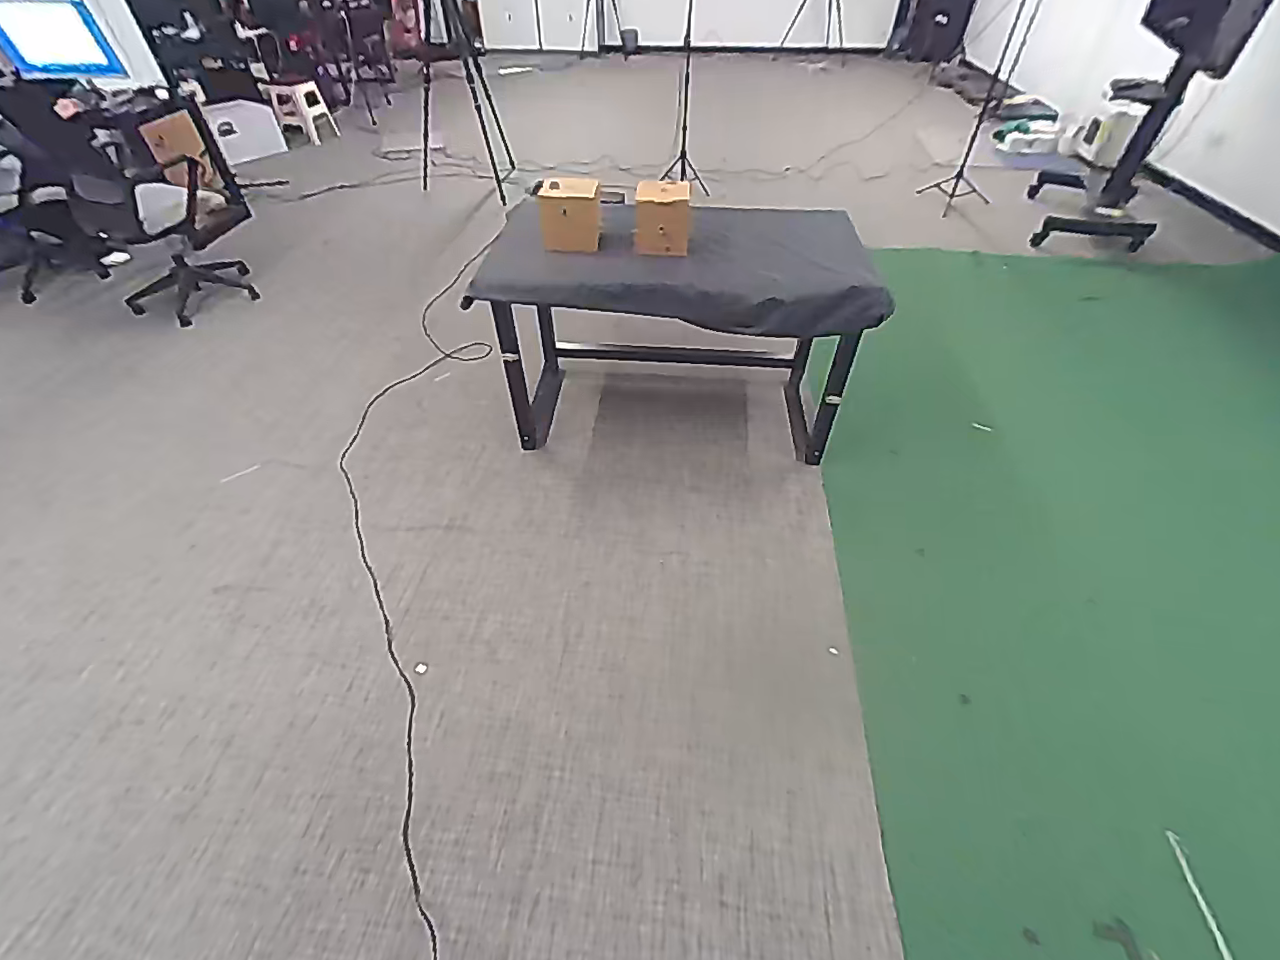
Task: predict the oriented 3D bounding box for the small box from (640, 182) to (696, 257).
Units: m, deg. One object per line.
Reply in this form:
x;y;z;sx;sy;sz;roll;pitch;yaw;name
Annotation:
0.091;-0.831;1.727;0.168;0.176;0.179;4;47;3;small box

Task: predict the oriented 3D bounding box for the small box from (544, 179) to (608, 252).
-0.201;-0.854;1.746;0.179;0.176;0.168;3;46;1;small box
